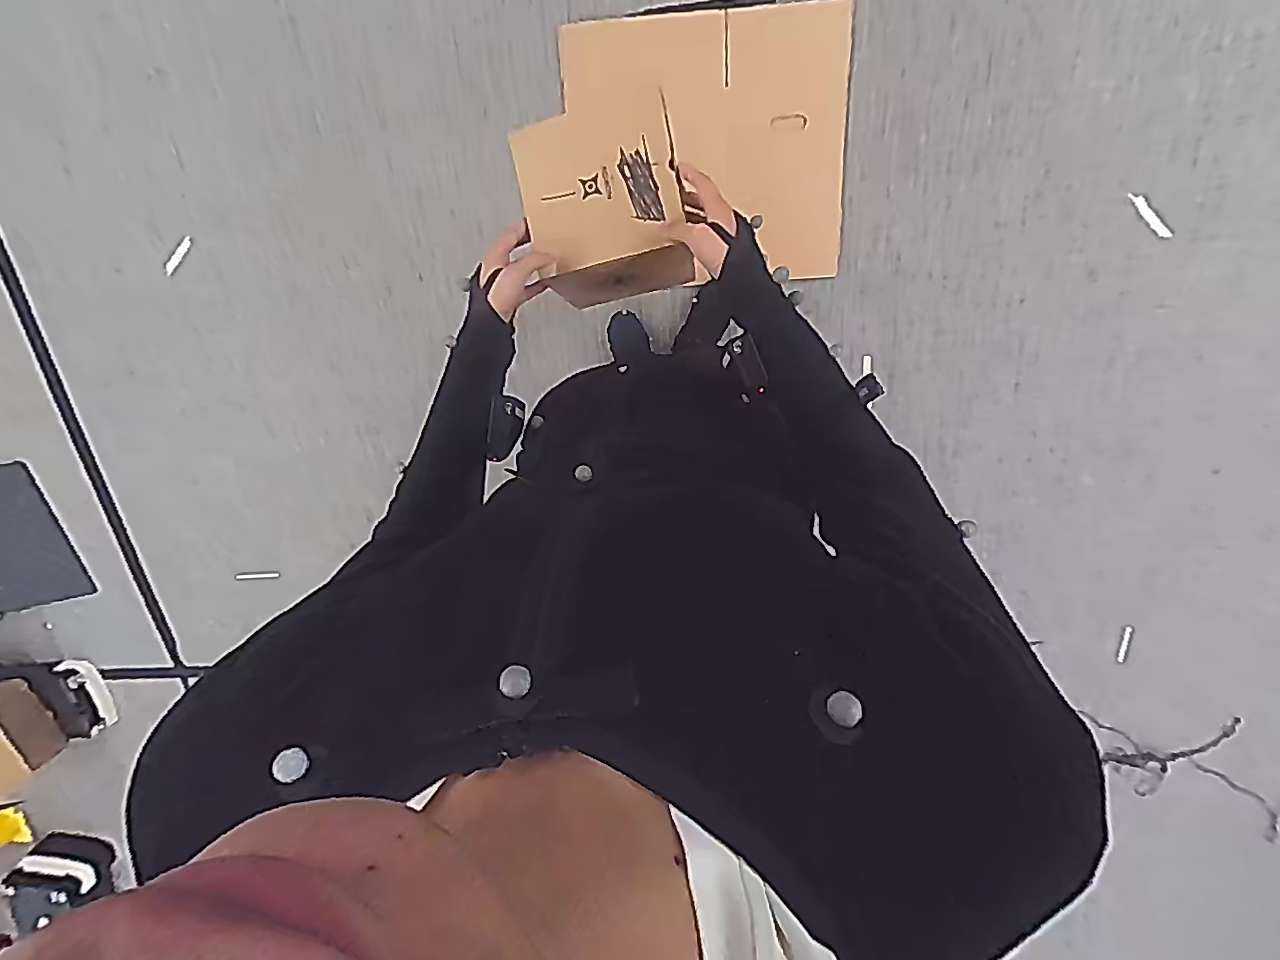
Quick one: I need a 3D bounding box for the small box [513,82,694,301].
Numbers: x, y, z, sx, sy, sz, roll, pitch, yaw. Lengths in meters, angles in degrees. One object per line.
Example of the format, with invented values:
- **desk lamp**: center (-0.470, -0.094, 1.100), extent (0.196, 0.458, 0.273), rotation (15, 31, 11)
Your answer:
- **small box**: center (-0.031, -0.335, 0.667), extent (0.179, 0.176, 0.168), rotation (-11, 95, 10)
